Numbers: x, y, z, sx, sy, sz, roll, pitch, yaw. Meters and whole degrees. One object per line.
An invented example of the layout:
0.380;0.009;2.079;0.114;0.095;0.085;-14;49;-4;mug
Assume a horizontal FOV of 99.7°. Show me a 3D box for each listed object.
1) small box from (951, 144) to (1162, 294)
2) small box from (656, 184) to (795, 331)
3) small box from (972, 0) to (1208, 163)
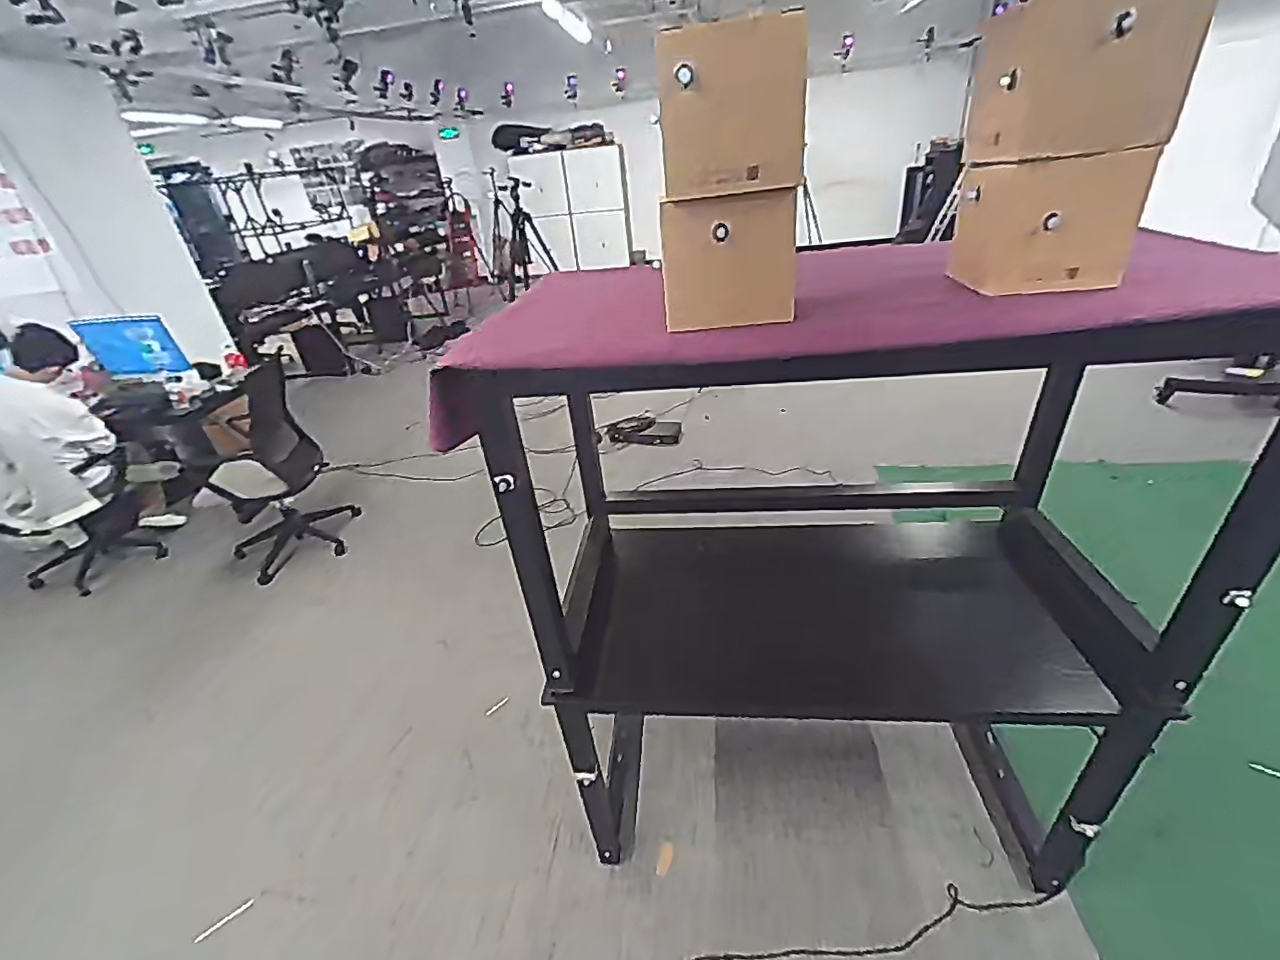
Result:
0.565;-0.364;0.765;0.168;0.176;0.179;-1;30;11;small box
0.119;-0.319;0.775;0.179;0.176;0.168;-4;30;5;small box
0.544;-0.502;0.678;0.179;0.176;0.168;-2;30;8;small box
